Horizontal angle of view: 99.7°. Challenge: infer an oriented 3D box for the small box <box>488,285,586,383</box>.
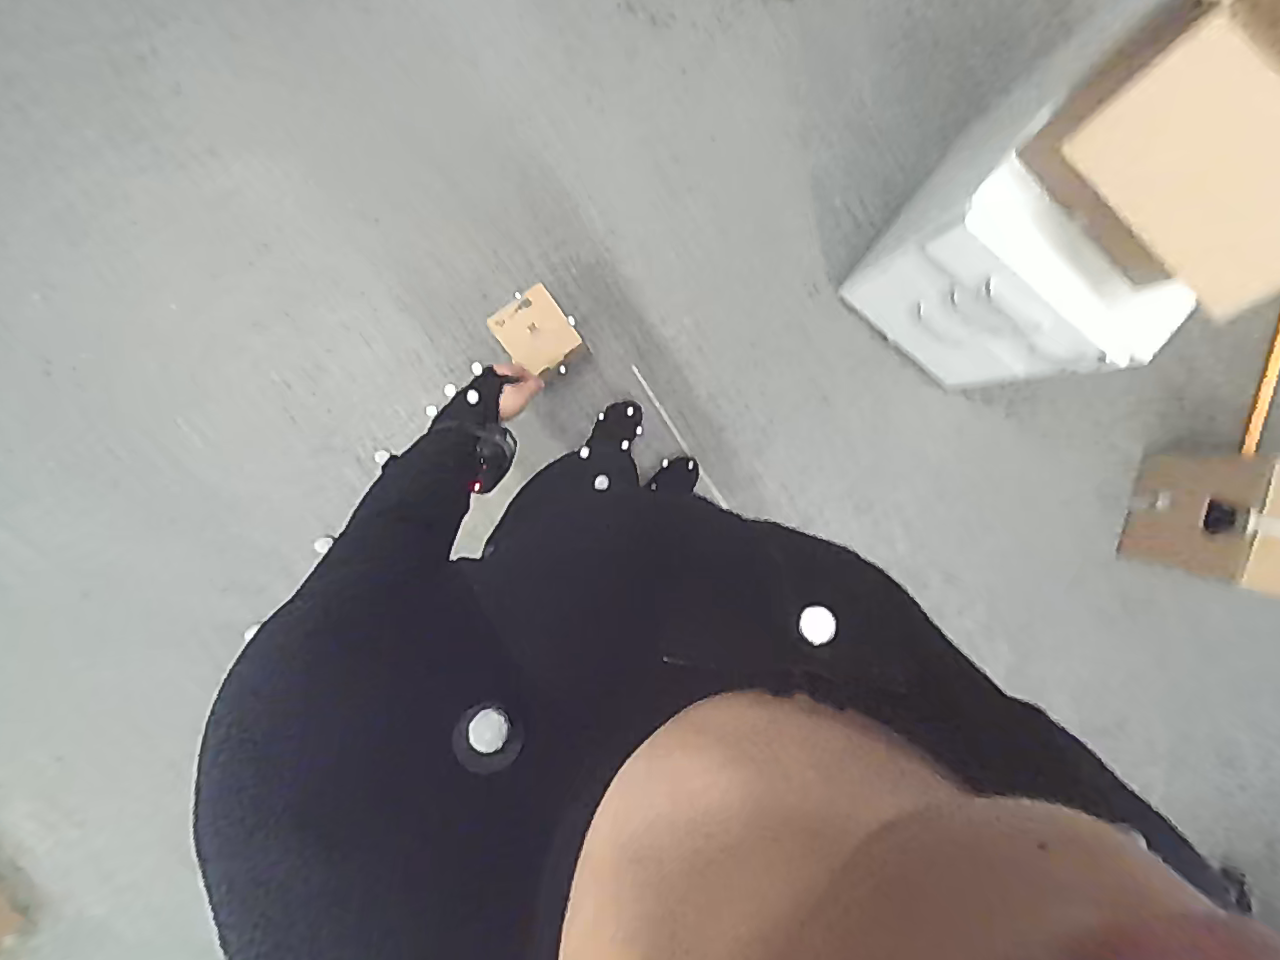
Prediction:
[{"bbox_3d":[-0.252,-0.361,1.377,0.168,0.176,0.179,-35,95,1],"label":"small box"}]
